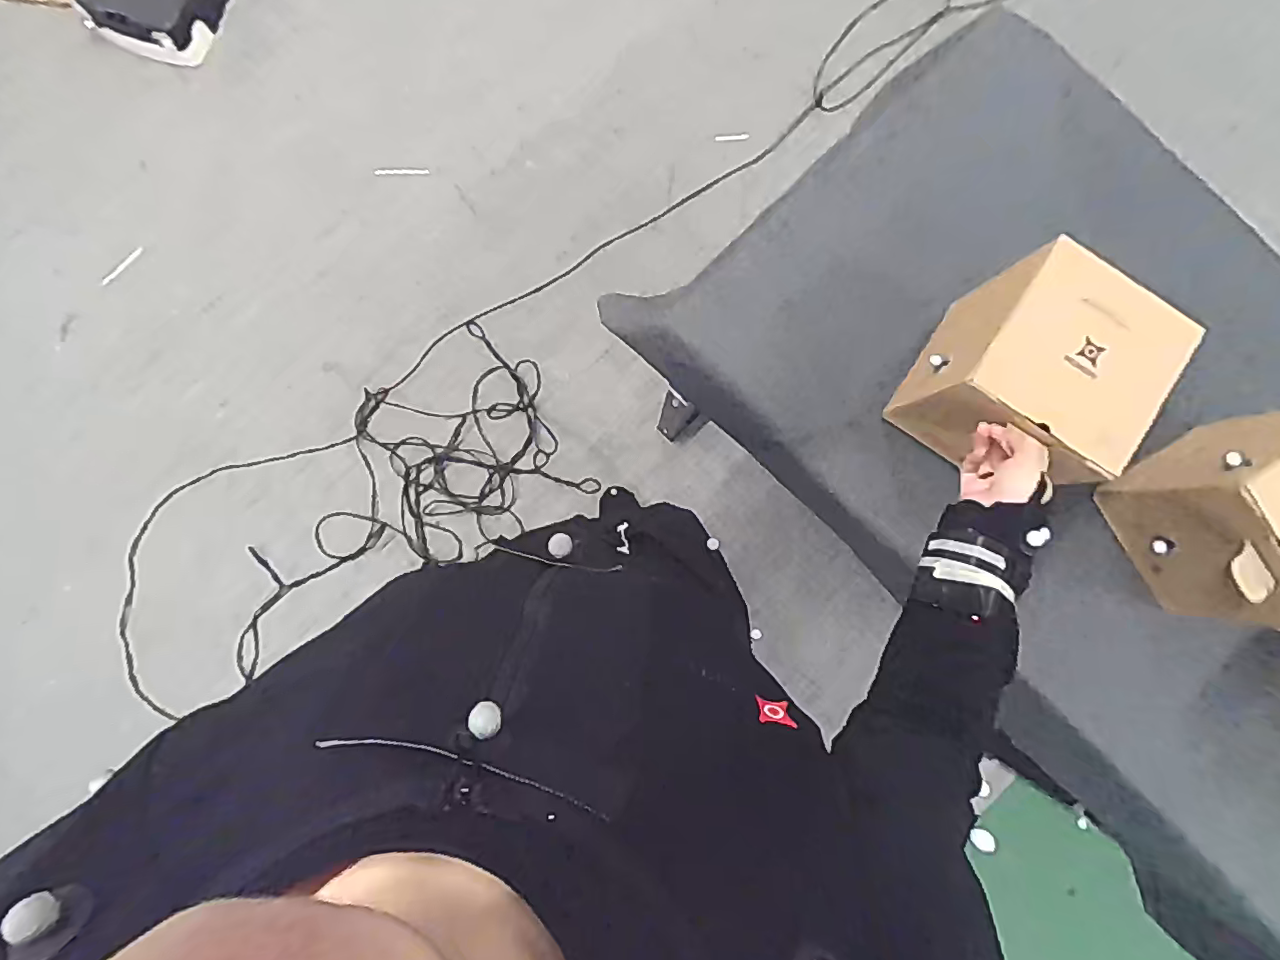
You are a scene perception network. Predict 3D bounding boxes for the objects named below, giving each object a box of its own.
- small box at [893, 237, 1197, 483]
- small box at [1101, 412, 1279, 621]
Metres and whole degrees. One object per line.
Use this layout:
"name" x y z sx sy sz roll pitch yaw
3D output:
"small box" 0.408 -0.109 0.581 0.168 0.176 0.179 33 85 -2
"small box" 0.674 0.032 0.586 0.179 0.176 0.168 -31 87 -3
